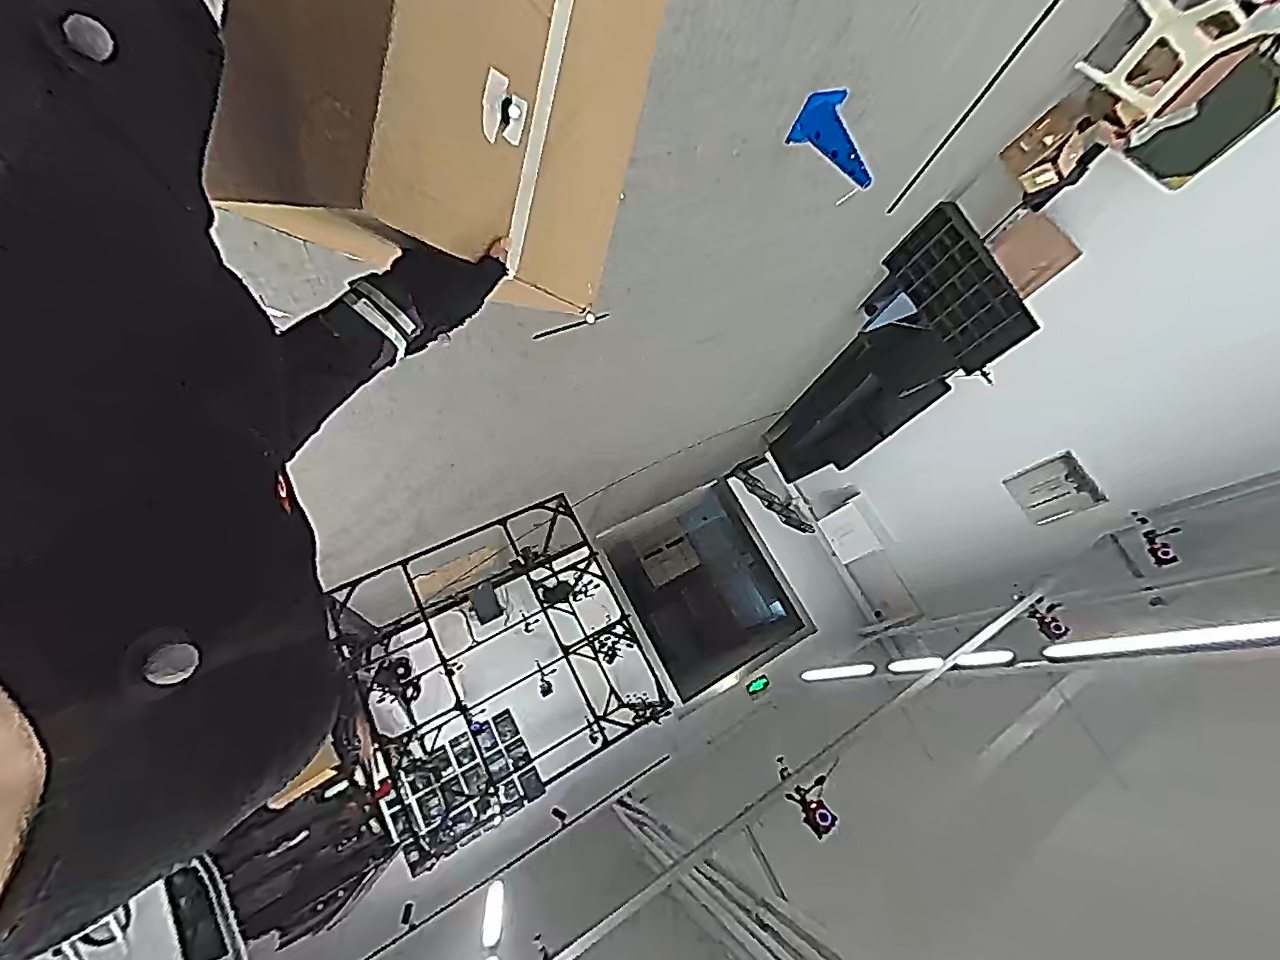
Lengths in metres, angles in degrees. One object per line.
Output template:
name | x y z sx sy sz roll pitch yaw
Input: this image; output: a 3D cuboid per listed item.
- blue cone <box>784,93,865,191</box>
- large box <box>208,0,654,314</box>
blue cone | 0.742 -1.261 2.056 0.193 0.380 0.192 -22 166 -25
large box | -0.226 -0.446 0.611 0.320 0.320 0.408 0 107 -58
